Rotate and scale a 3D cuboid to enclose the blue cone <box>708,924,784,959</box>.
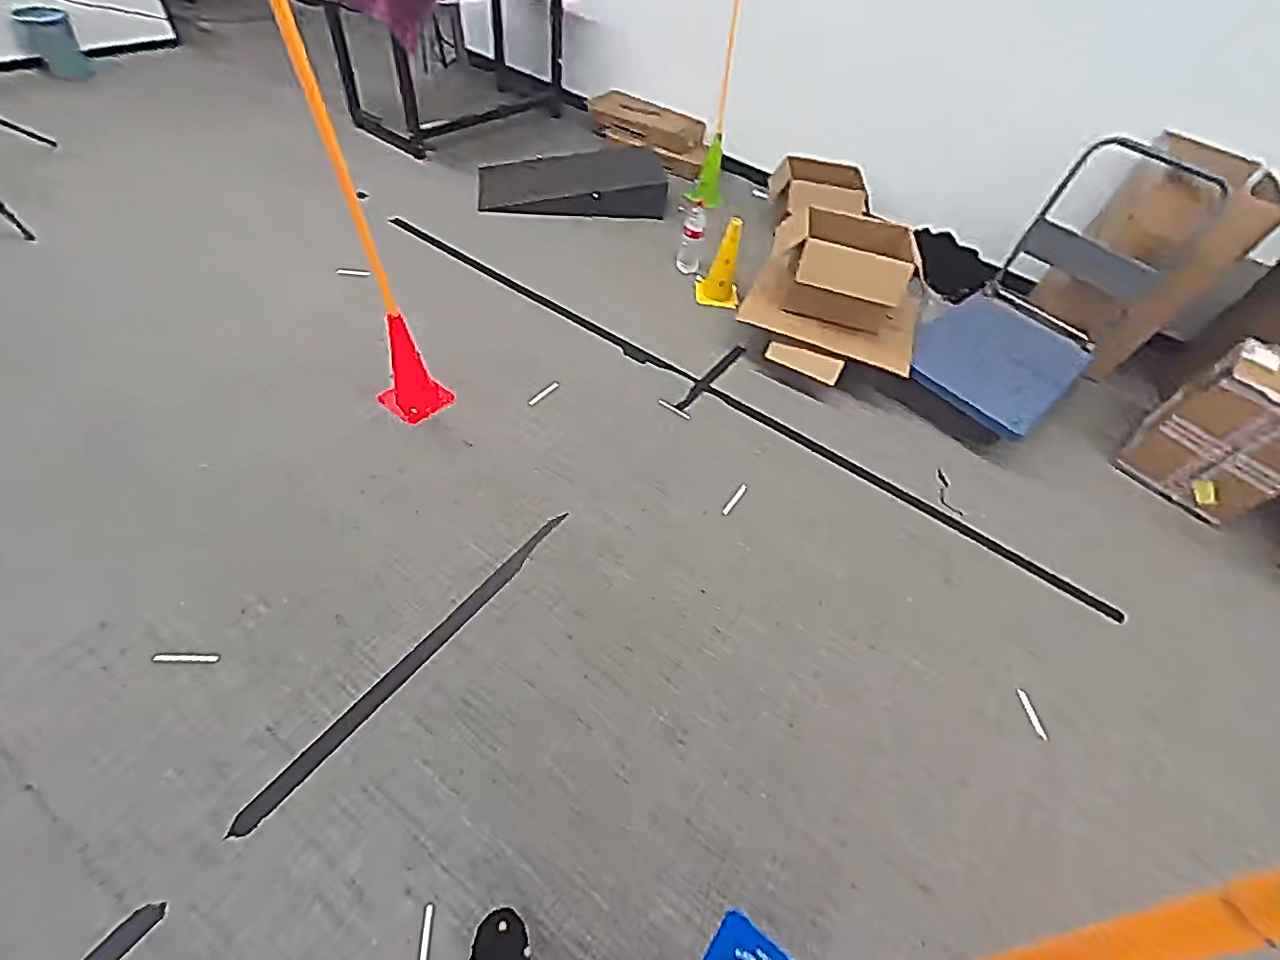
[{"bbox_3d":[0.231,0.908,0.921,0.193,0.380,0.192,35,55,18],"label":"blue cone"}]

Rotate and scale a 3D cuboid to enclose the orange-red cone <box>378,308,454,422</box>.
[{"bbox_3d":[-0.763,-0.400,1.764,0.198,0.360,0.199,36,54,18],"label":"orange-red cone"}]
